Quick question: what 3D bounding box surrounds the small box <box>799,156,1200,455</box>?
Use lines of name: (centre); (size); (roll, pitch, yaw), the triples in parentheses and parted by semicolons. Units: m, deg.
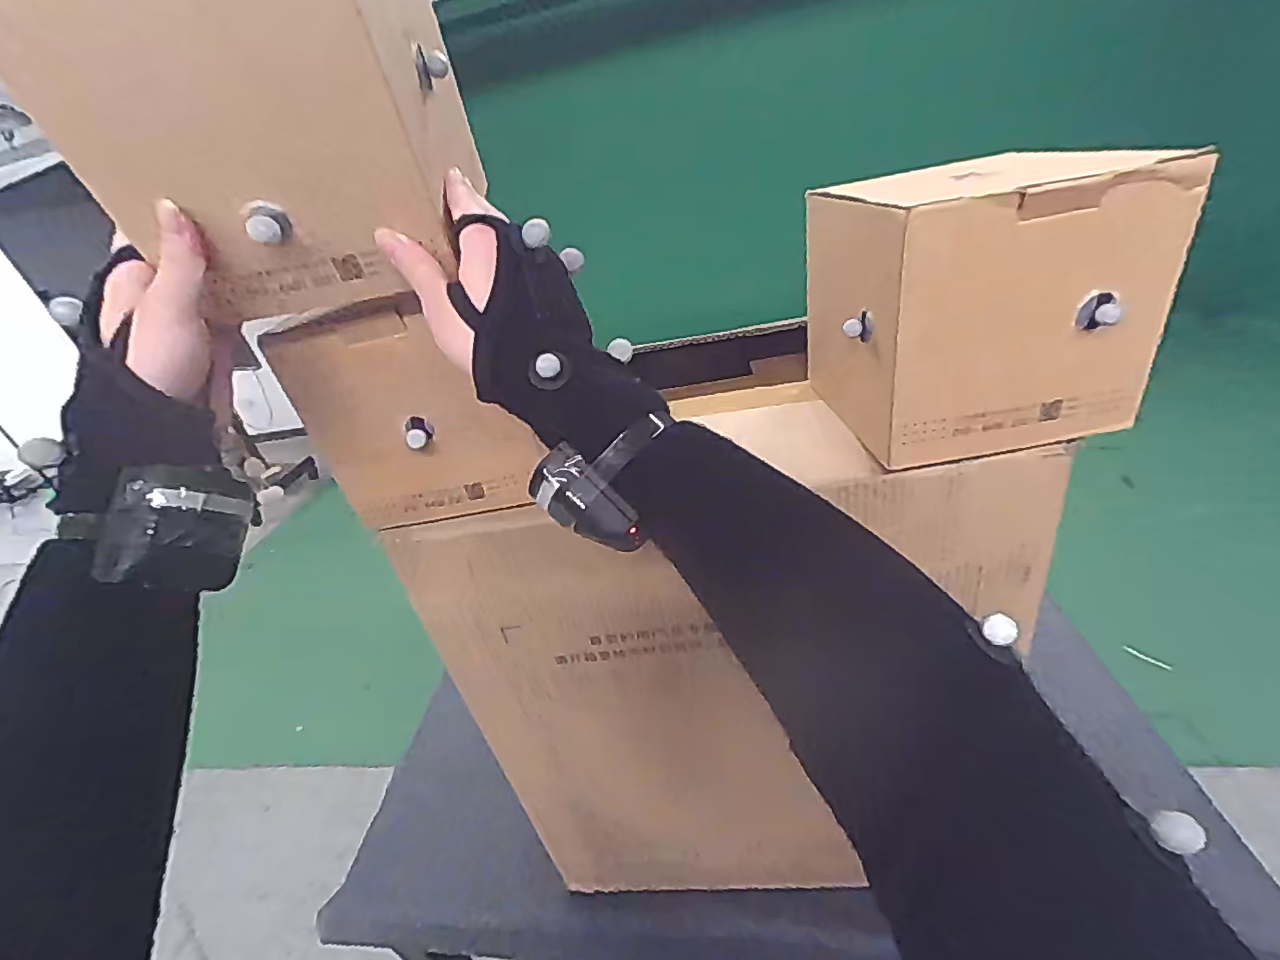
small box: (0.225, -0.126, 0.399); (0.168, 0.176, 0.179); (-9, 29, 1)

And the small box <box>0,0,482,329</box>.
small box: (-0.207, -0.218, 0.333); (0.168, 0.176, 0.179); (-10, 46, 1)

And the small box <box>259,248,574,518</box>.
small box: (-0.162, -0.081, 0.467); (0.168, 0.176, 0.179); (-10, 31, 6)
